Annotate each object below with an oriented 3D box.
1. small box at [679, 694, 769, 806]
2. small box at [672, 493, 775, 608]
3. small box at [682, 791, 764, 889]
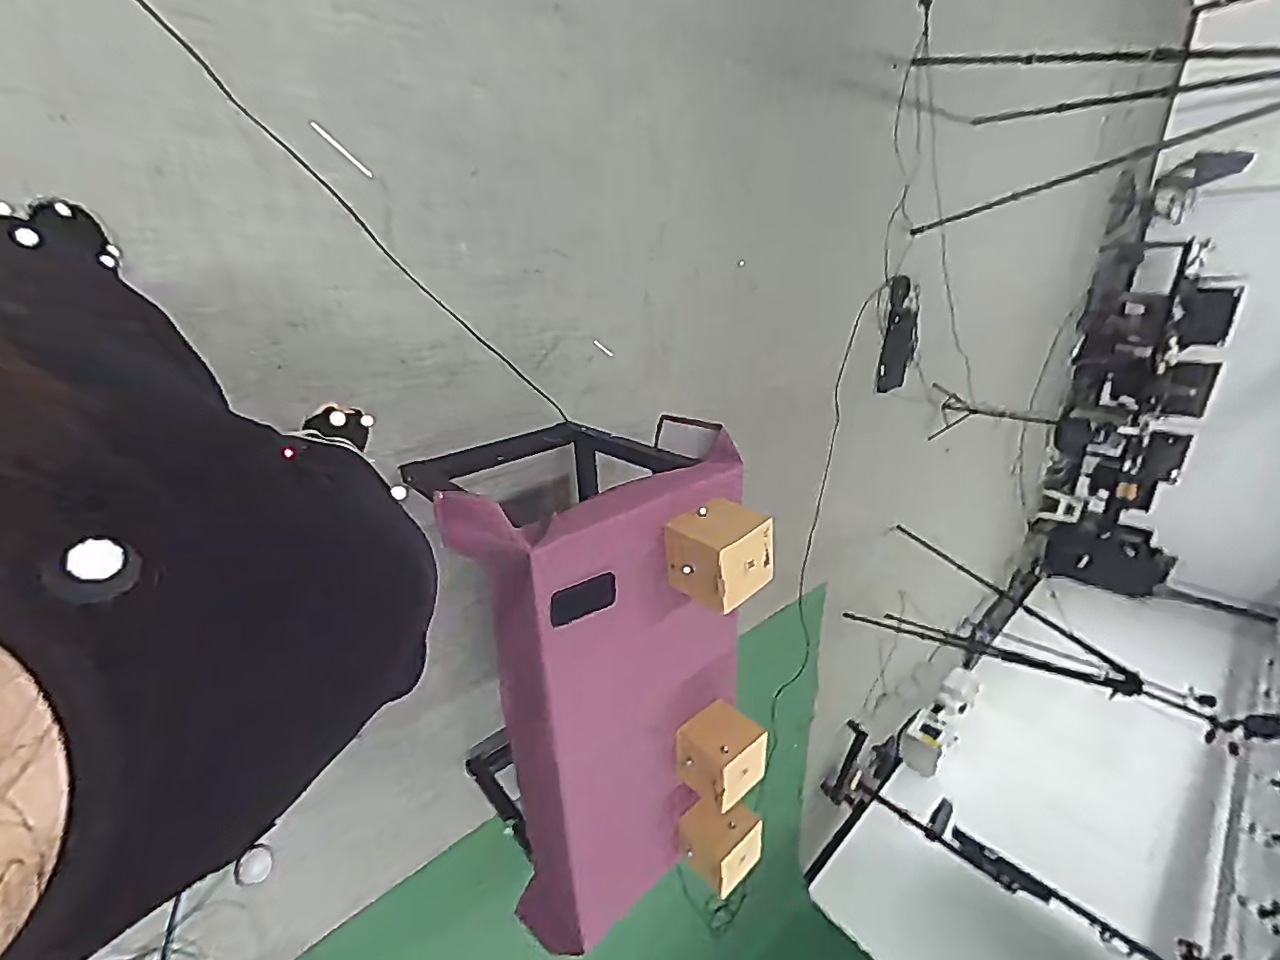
[{"bbox_3d":[0.226,0.722,1.469,0.179,0.176,0.168,-19,118,-36],"label":"small box"},{"bbox_3d":[0.183,0.149,1.212,0.179,0.176,0.168,-25,122,-33],"label":"small box"},{"bbox_3d":[0.241,1.029,1.593,0.179,0.176,0.168,-21,117,-36],"label":"small box"}]
